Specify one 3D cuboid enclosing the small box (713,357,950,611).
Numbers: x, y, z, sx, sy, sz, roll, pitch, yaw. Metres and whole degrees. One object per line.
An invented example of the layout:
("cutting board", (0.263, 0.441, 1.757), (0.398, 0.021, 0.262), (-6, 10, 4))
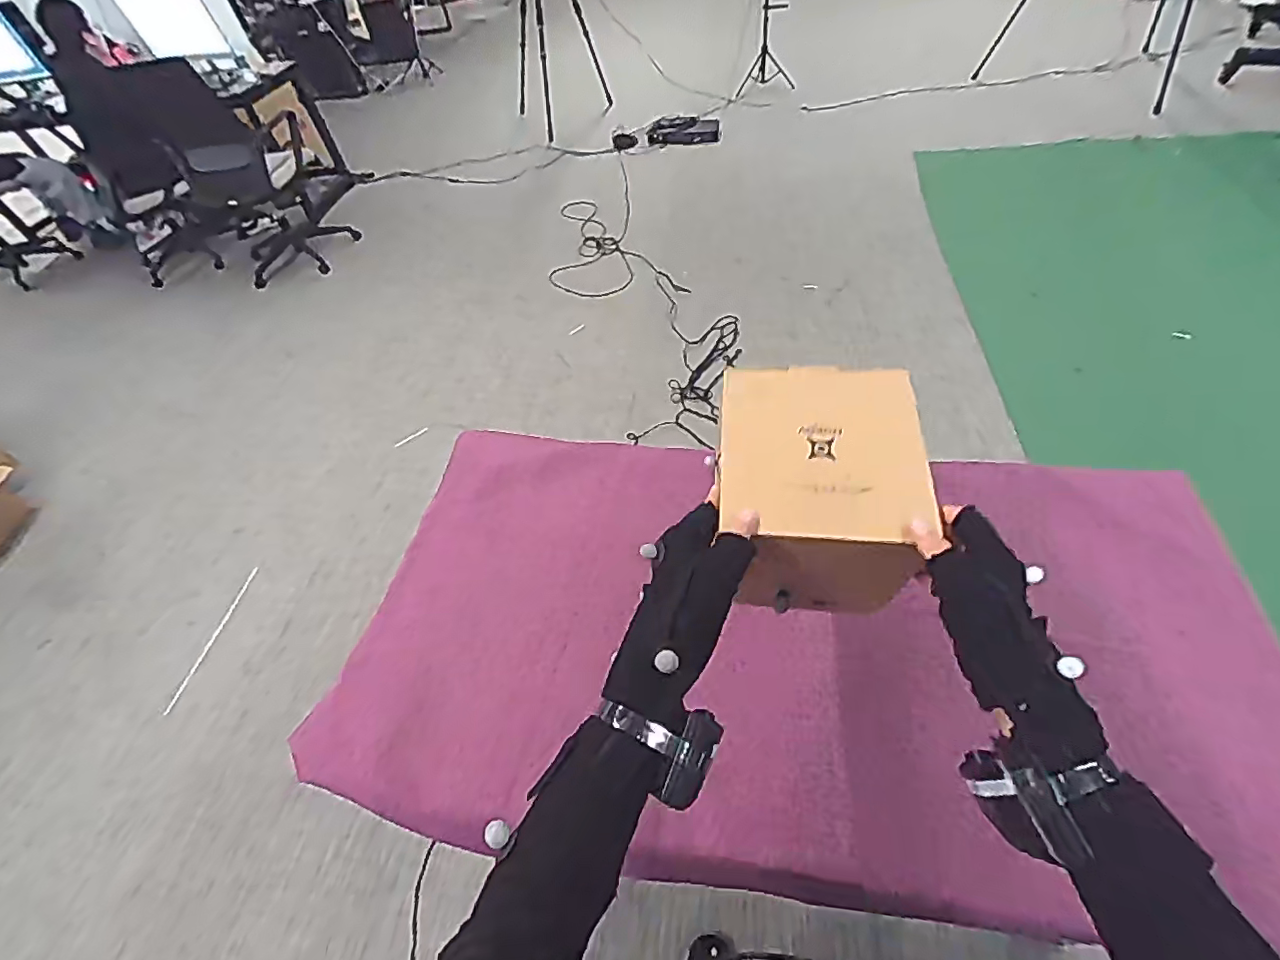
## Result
("small box", (0.156, 0.008, 0.506), (0.168, 0.176, 0.179), (2, 60, 7))
